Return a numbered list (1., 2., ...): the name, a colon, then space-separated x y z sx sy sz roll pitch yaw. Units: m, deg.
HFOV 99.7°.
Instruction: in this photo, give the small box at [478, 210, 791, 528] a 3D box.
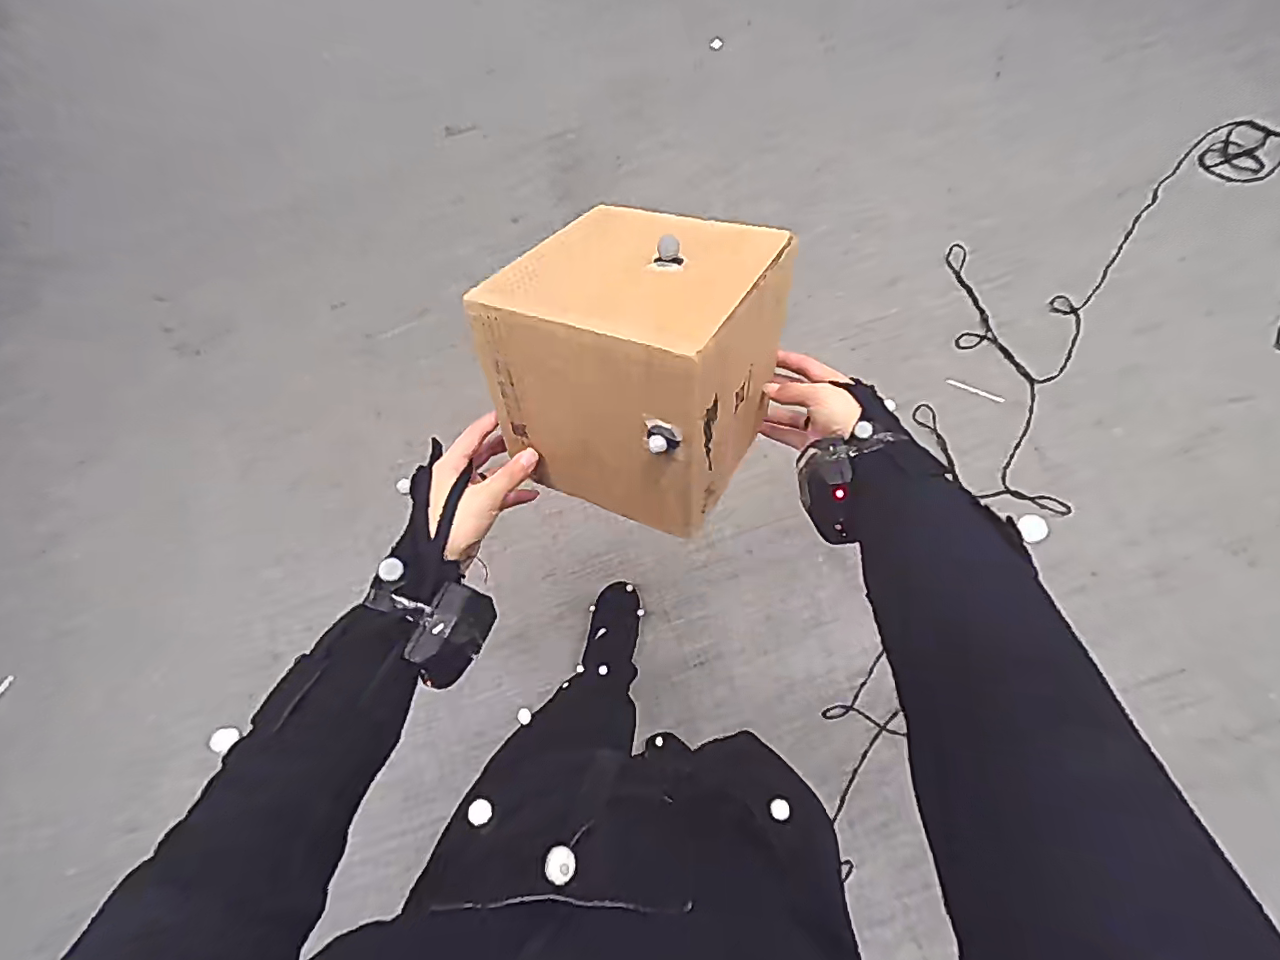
1. small box: 0.003 -0.098 0.436 0.176 0.168 0.179 20 50 21
